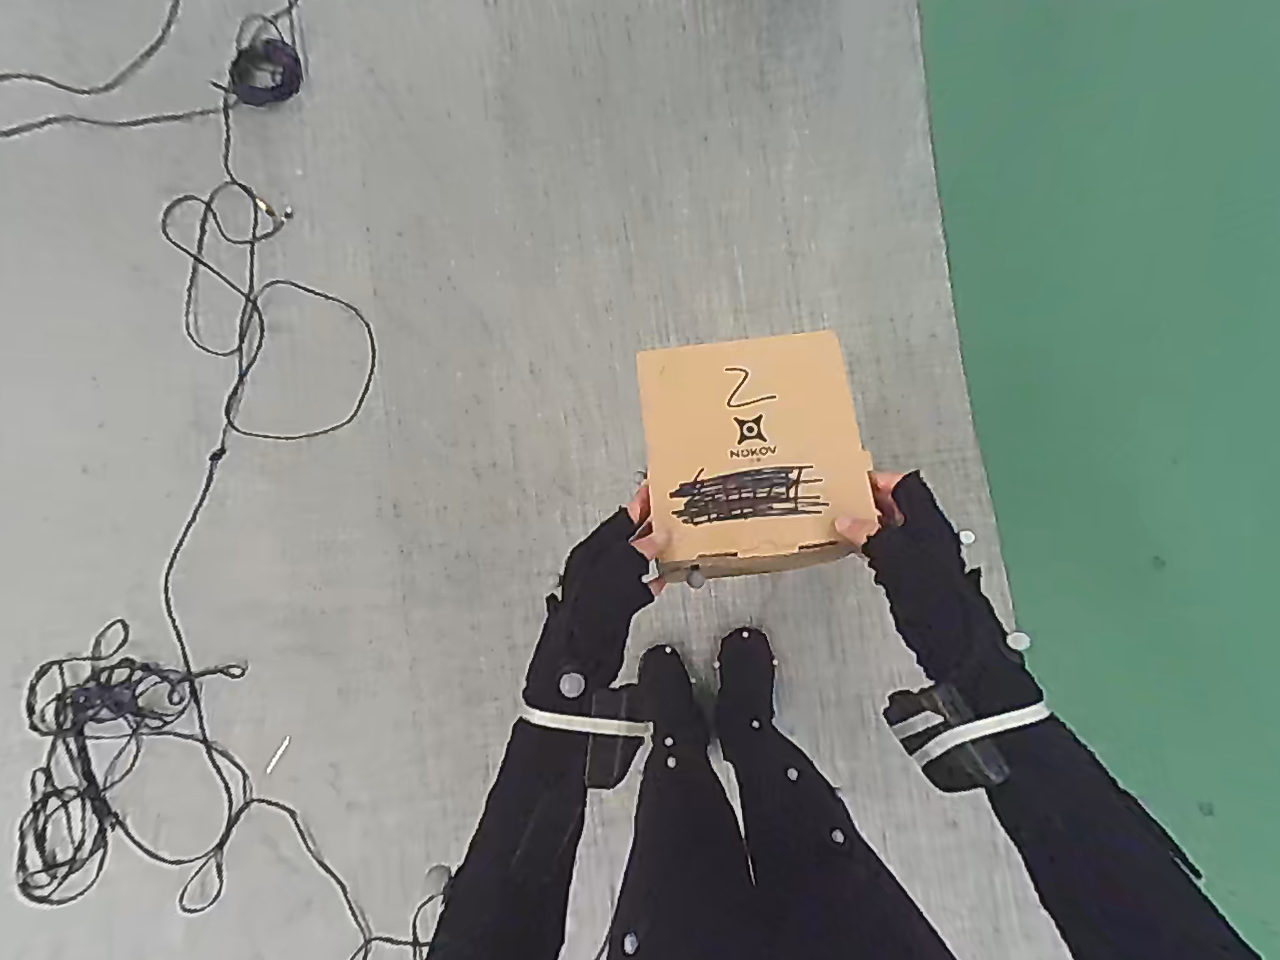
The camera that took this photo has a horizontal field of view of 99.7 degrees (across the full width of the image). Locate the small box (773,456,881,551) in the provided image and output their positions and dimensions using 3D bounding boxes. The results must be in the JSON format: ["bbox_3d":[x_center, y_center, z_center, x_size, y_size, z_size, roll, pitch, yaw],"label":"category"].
[{"bbox_3d":[0.382,0.053,1.131,0.168,0.176,0.179,-7,85,5],"label":"small box"}]
